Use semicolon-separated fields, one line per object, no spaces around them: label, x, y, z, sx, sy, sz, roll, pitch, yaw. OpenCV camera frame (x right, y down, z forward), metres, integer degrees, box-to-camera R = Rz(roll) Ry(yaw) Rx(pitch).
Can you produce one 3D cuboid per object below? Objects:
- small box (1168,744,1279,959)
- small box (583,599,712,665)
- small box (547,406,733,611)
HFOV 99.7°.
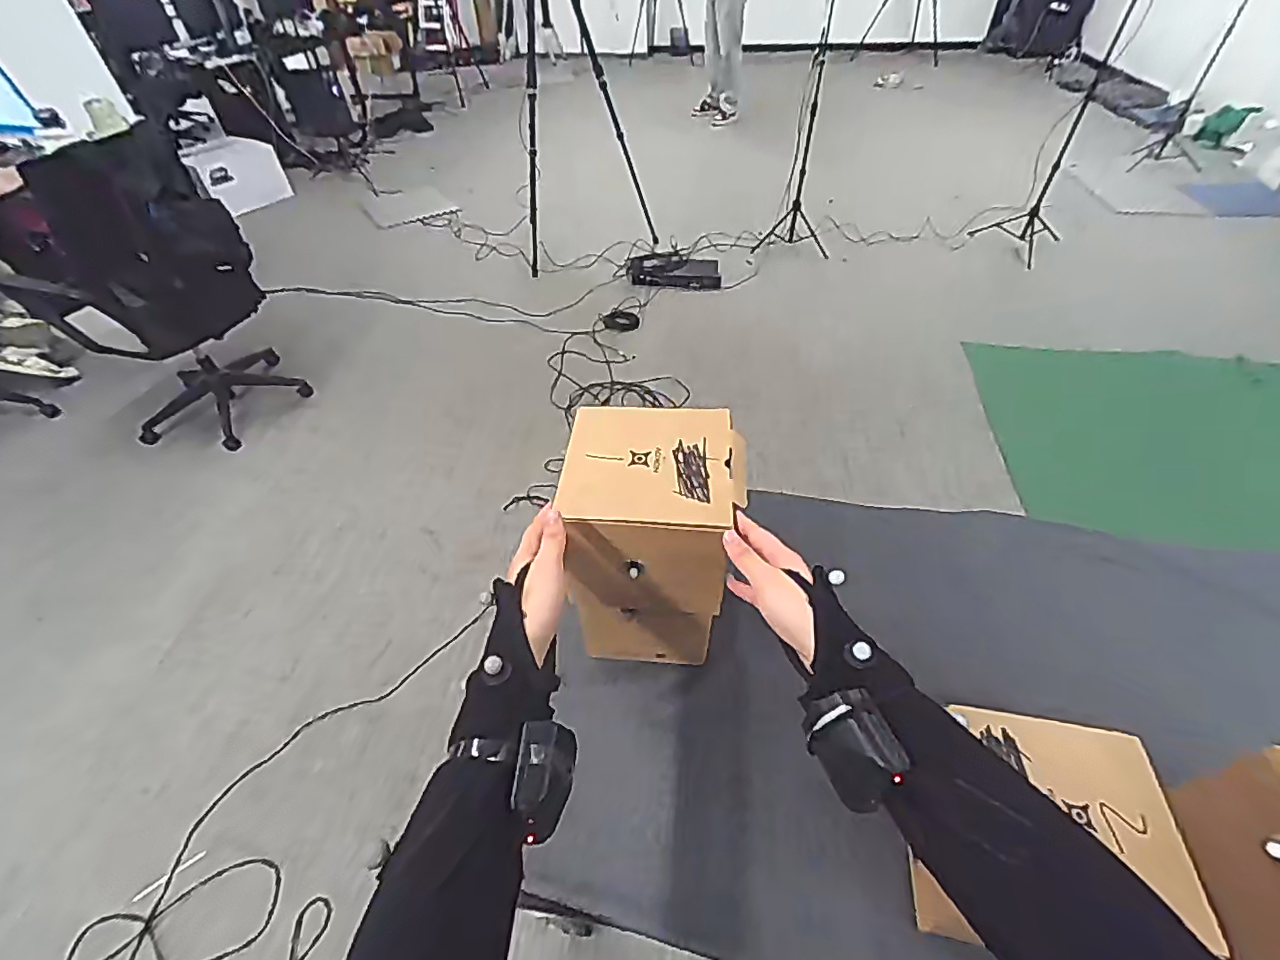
small box;0.660;0.375;0.498;0.168;0.176;0.179;6;47;9
small box;0.014;0.134;0.754;0.168;0.176;0.179;3;48;5
small box;0.009;0.035;0.615;0.179;0.176;0.168;2;48;6
